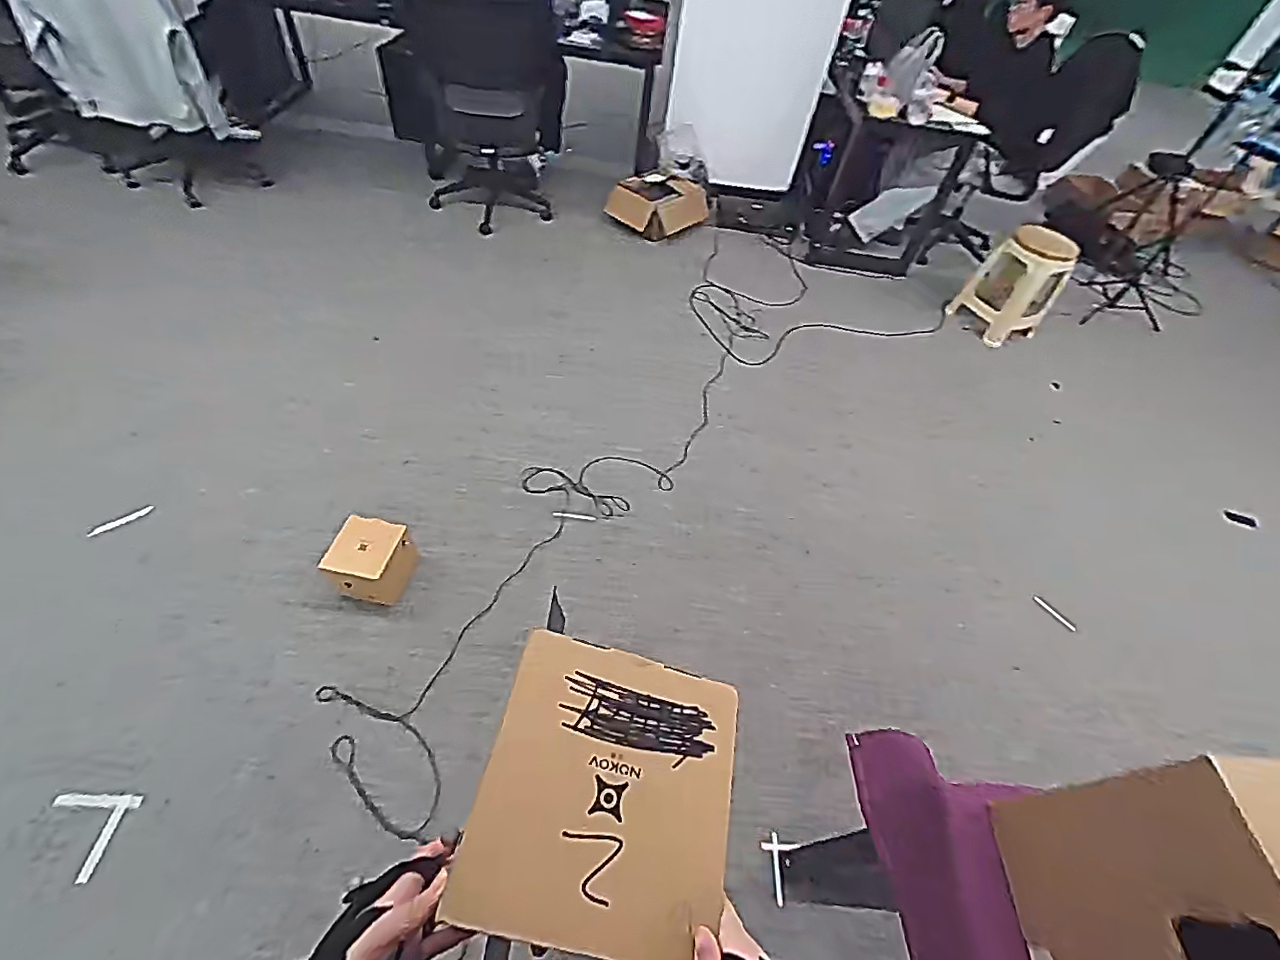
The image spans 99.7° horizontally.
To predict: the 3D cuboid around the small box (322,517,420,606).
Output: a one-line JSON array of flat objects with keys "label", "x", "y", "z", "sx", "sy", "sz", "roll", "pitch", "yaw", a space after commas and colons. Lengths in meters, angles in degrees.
[{"label": "small box", "x": -0.743, "y": 0.233, "z": 1.520, "sx": 0.168, "sy": 0.176, "sz": 0.179, "roll": 11, "pitch": 51, "yaw": 2}]
